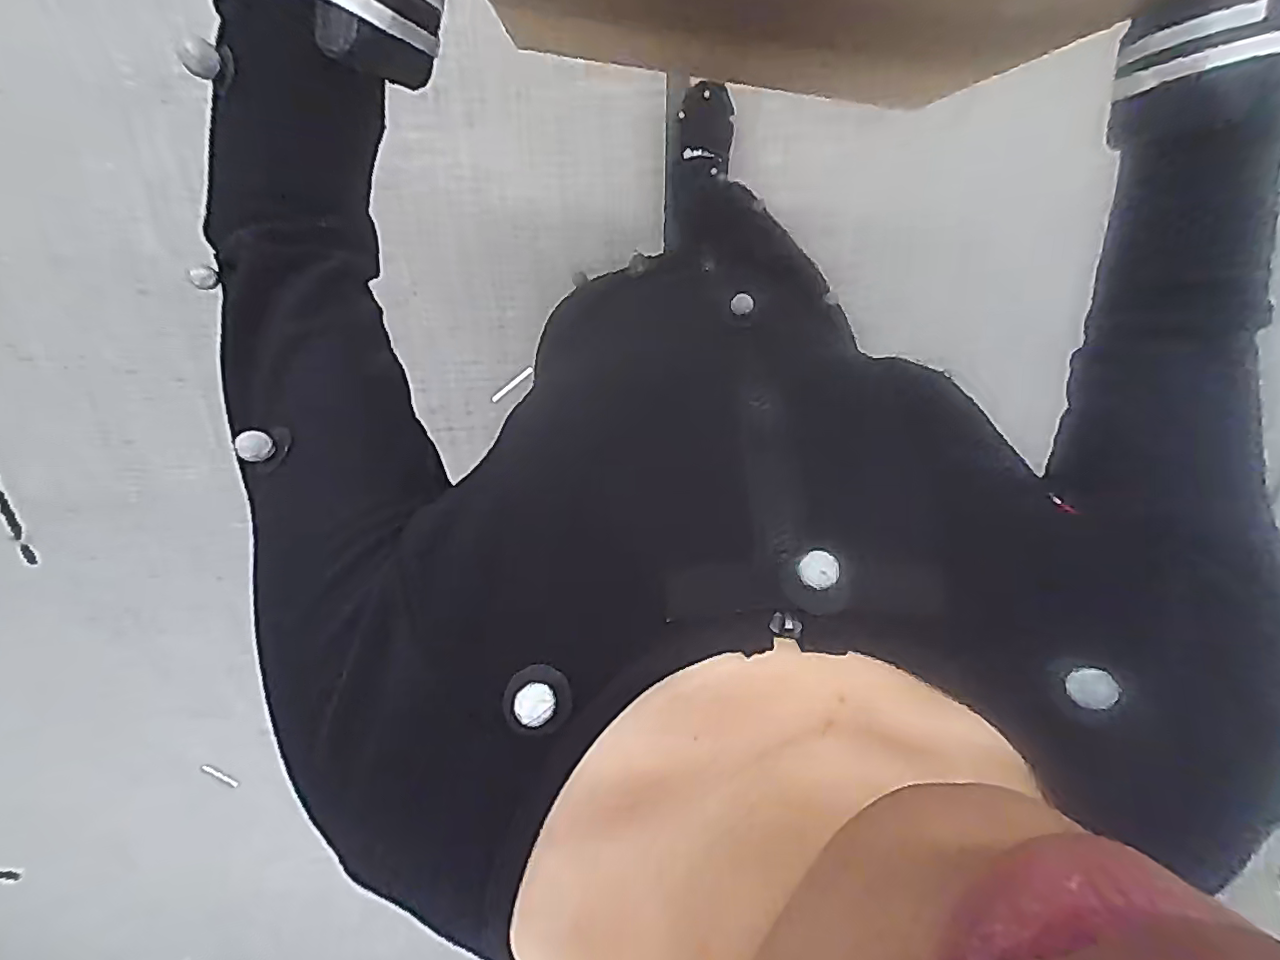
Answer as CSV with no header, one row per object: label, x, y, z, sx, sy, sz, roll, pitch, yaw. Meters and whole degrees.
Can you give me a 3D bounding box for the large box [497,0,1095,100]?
large box,0.098,-0.479,0.340,0.408,0.320,0.320,5,114,-4
